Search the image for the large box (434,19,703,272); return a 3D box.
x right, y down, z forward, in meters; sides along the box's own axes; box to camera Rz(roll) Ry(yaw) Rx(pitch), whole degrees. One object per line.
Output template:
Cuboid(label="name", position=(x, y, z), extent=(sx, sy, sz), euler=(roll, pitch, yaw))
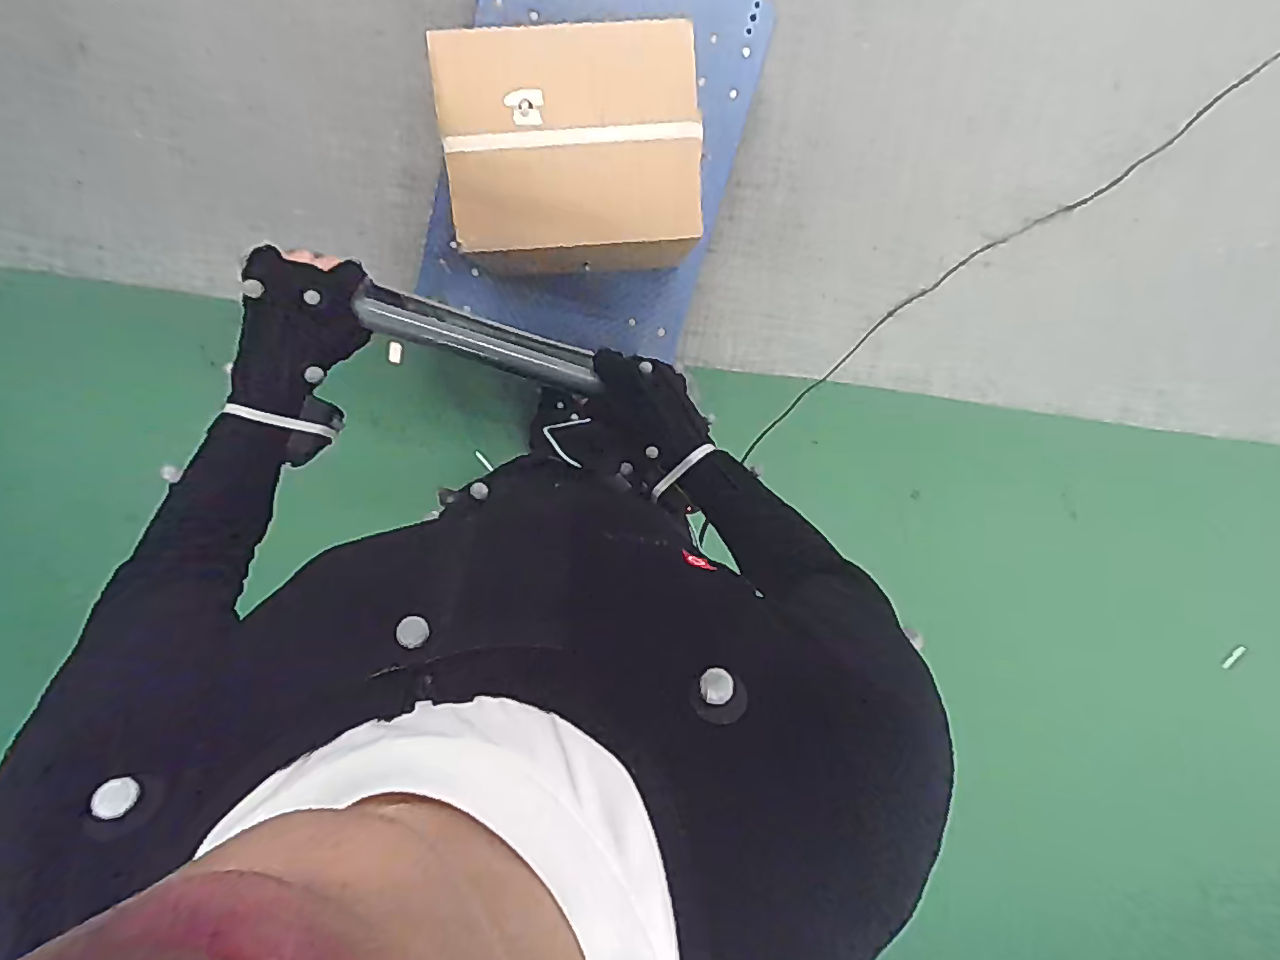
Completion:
Cuboid(label="large box", position=(-0.110, -0.578, 1.003), extent=(0.408, 0.320, 0.320), euler=(-5, 103, -2))
